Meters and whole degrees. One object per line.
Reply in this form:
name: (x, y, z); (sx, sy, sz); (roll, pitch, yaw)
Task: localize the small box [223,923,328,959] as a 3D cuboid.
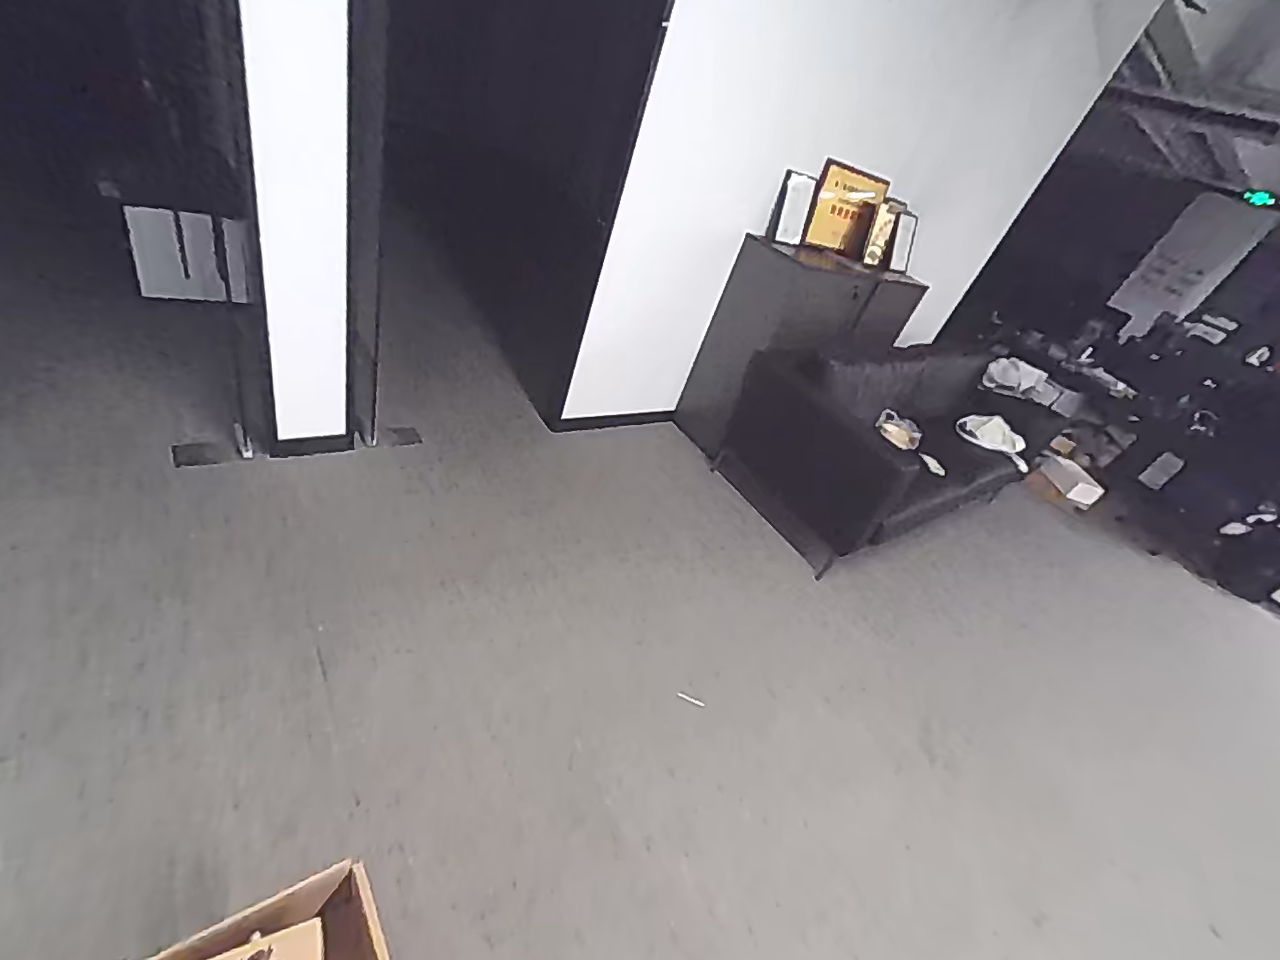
small box: (-0.425, 0.633, 0.577); (0.168, 0.176, 0.179); (-2, 39, -31)
